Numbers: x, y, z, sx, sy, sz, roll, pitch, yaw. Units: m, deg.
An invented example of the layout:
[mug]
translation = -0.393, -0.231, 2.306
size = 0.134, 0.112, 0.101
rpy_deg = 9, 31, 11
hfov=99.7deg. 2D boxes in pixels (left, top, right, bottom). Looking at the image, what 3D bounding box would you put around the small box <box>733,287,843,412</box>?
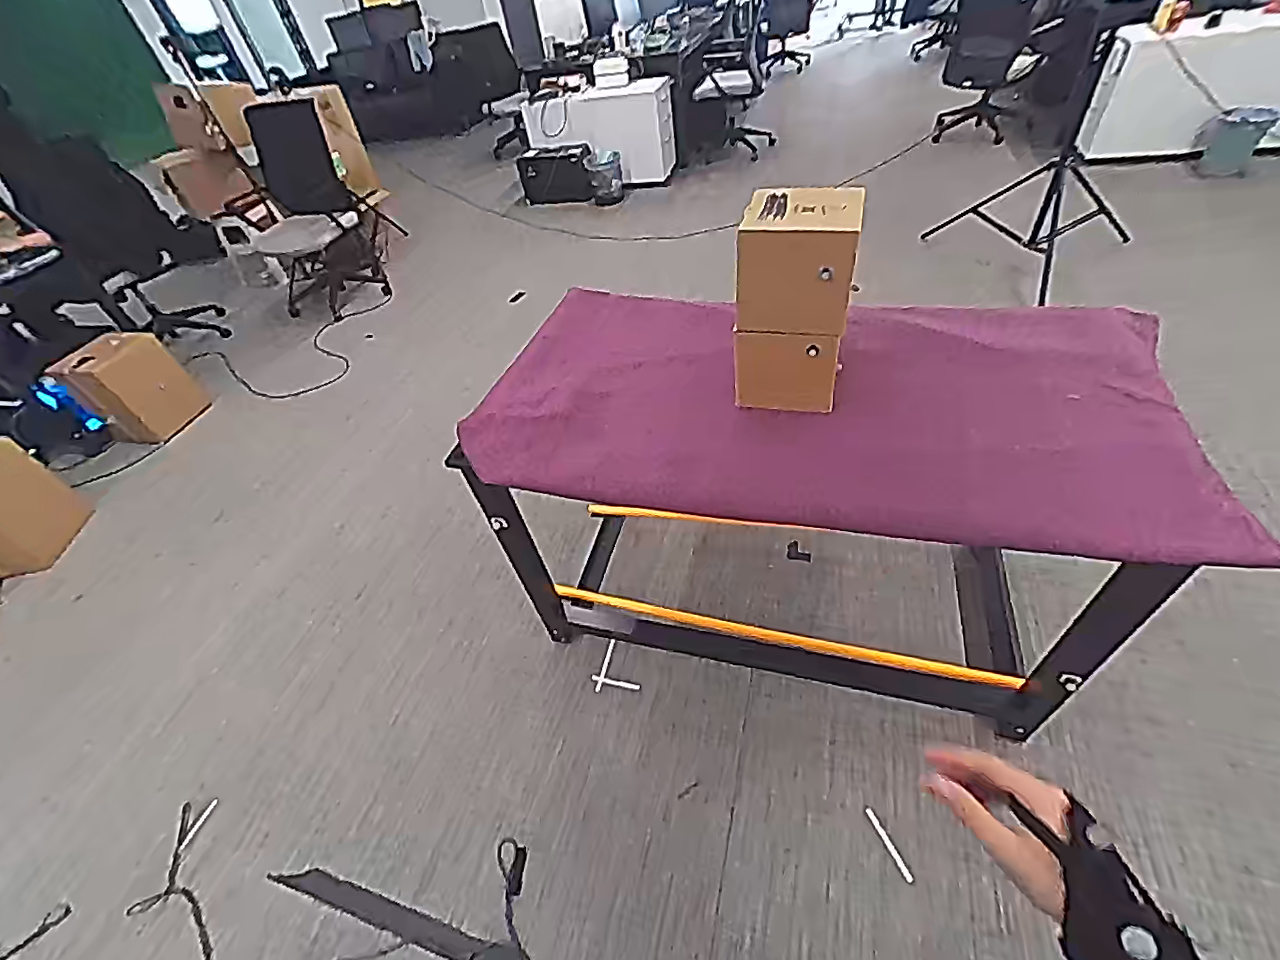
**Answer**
[small box]
translation = 0.273, -0.242, 1.006
size = 0.179, 0.176, 0.168
rpy_deg = 7, 48, 16
